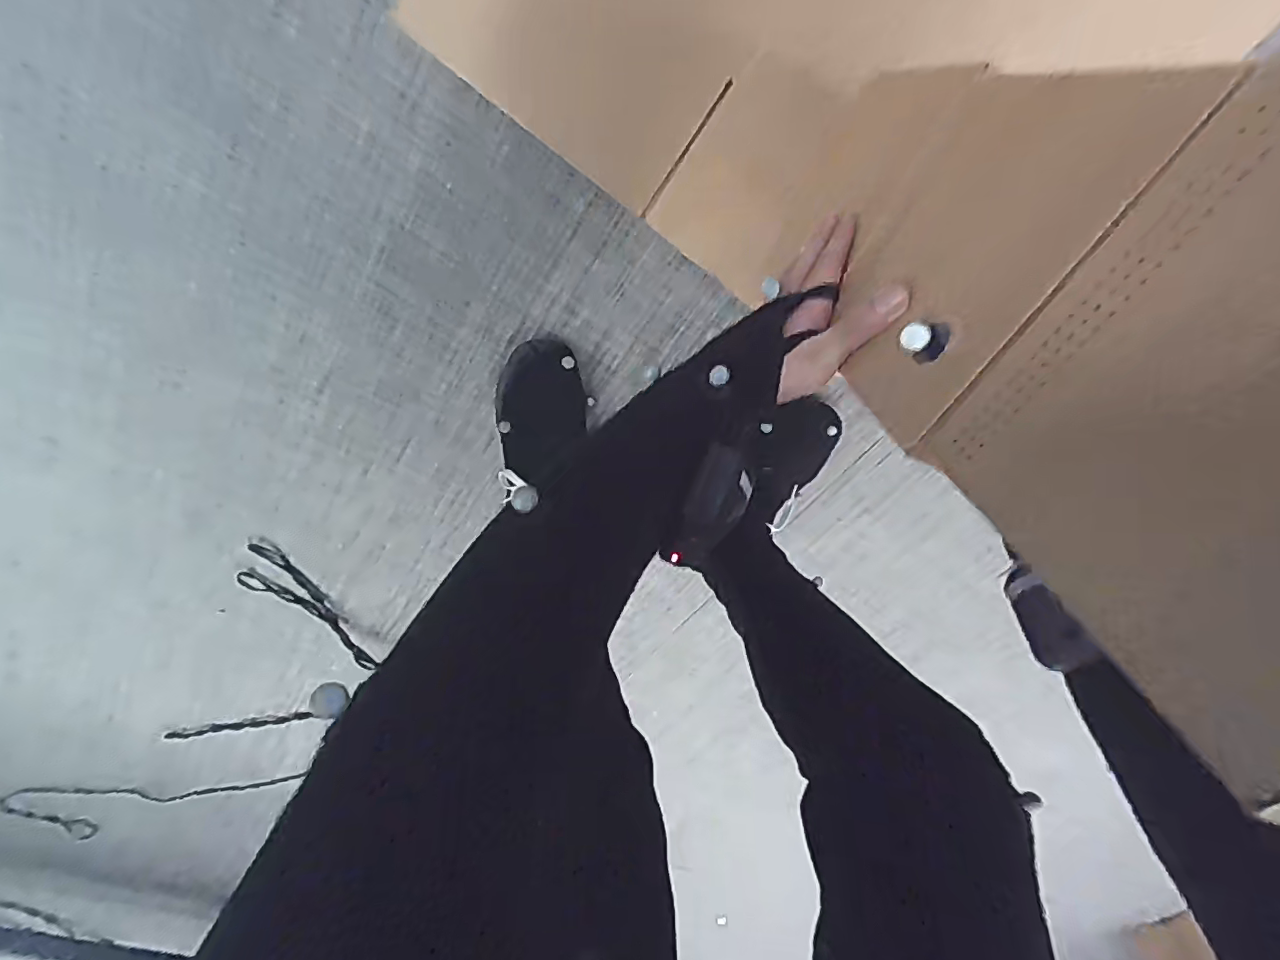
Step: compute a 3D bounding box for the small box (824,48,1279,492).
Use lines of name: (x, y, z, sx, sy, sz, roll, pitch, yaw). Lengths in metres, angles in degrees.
small box: (0.230, -0.097, 0.306, 0.168, 0.176, 0.179, 19, 122, -18)
